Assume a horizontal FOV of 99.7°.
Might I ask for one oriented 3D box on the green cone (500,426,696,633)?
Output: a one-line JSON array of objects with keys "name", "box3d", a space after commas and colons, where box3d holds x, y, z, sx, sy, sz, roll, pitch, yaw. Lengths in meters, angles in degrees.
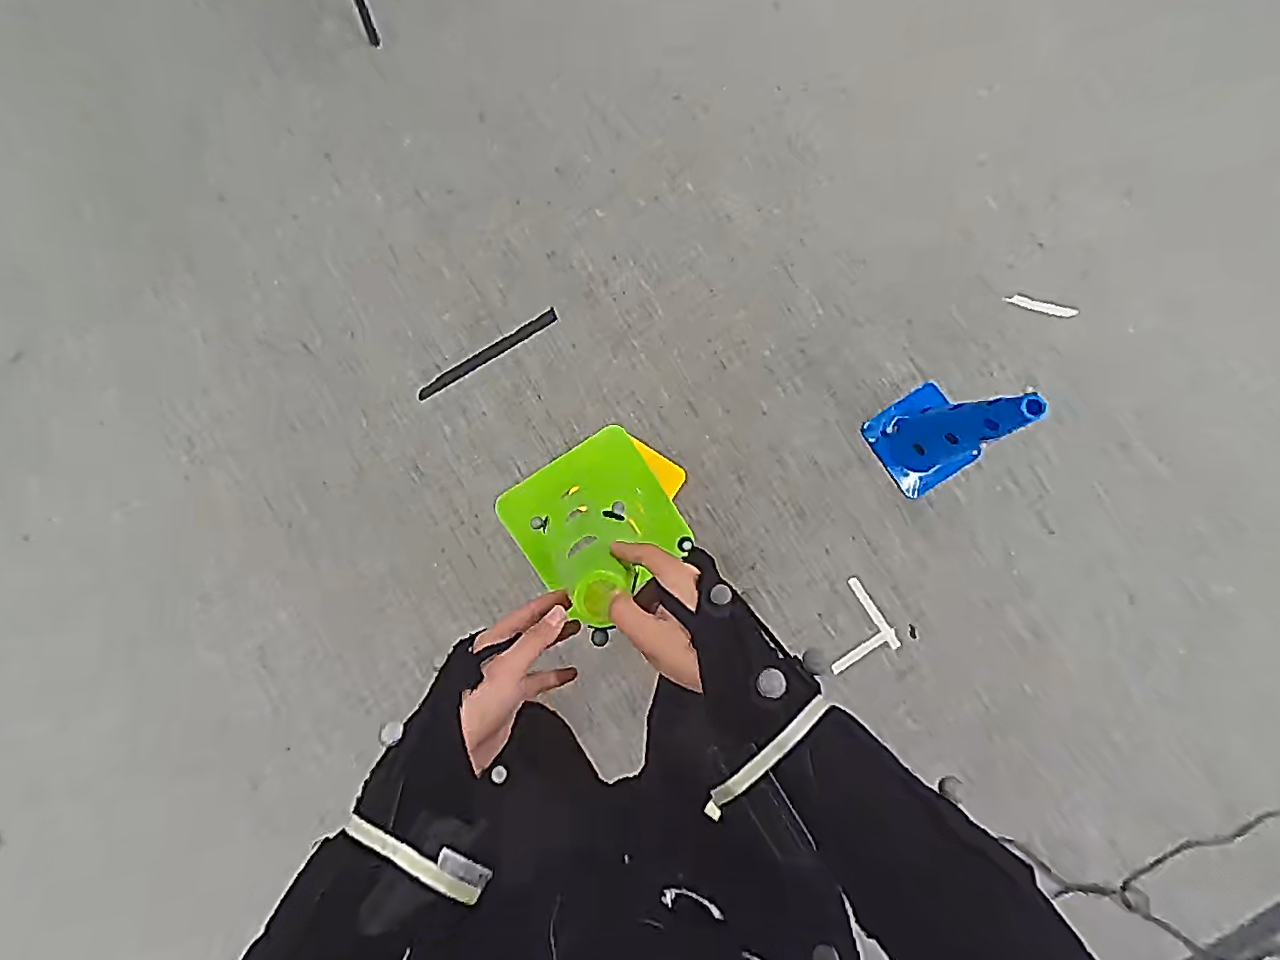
[{"name": "green cone", "box3d": [-0.038, 0.067, 0.537, 0.202, 0.368, 0.200, -35, 95, -2]}]
